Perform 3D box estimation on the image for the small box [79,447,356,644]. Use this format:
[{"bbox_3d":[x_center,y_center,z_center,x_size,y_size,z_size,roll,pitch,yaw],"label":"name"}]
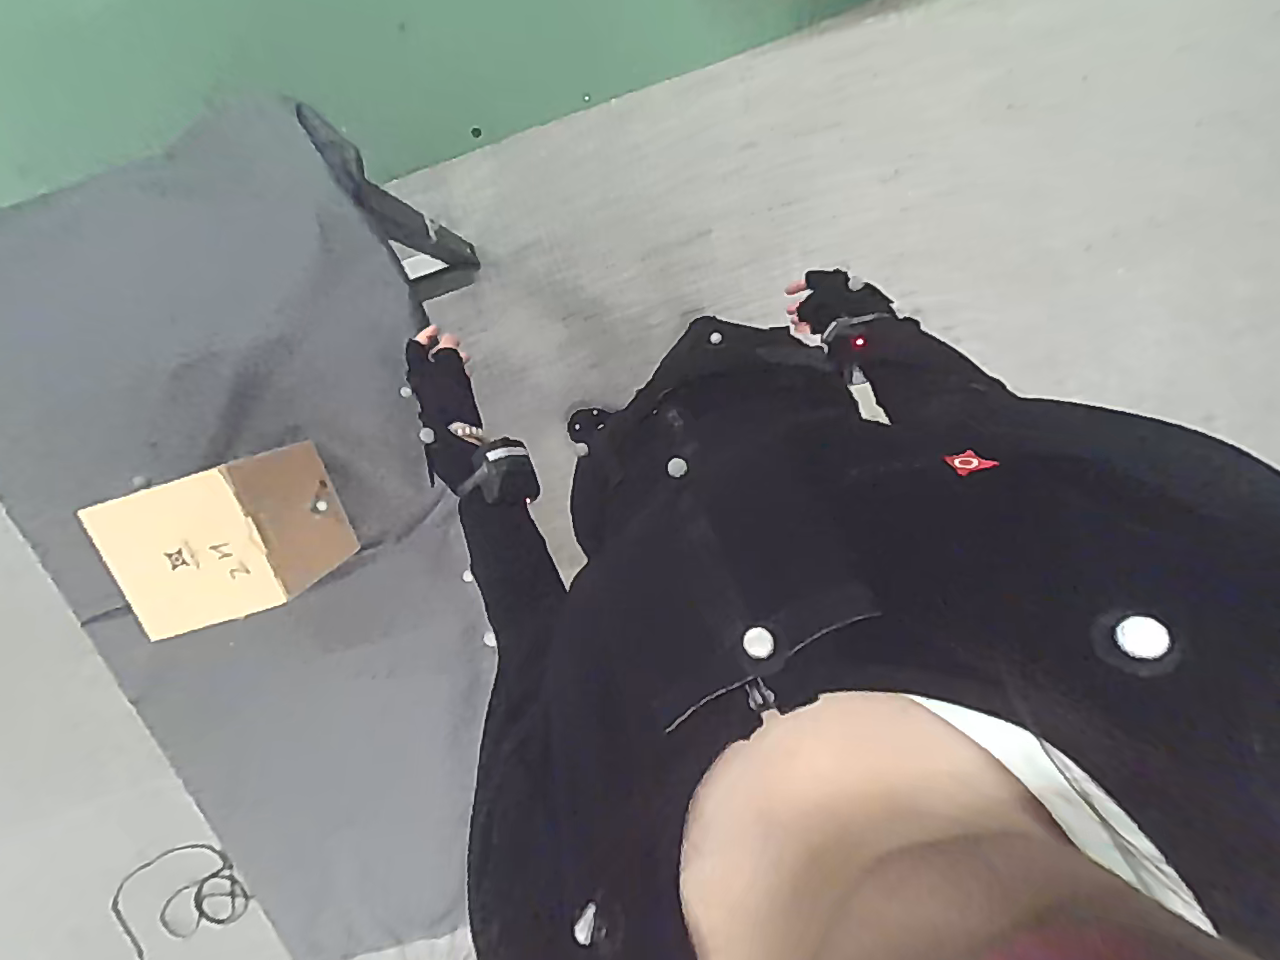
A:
[{"bbox_3d":[-0.497,0.070,0.668,0.179,0.176,0.168,-17,104,3],"label":"small box"}]
